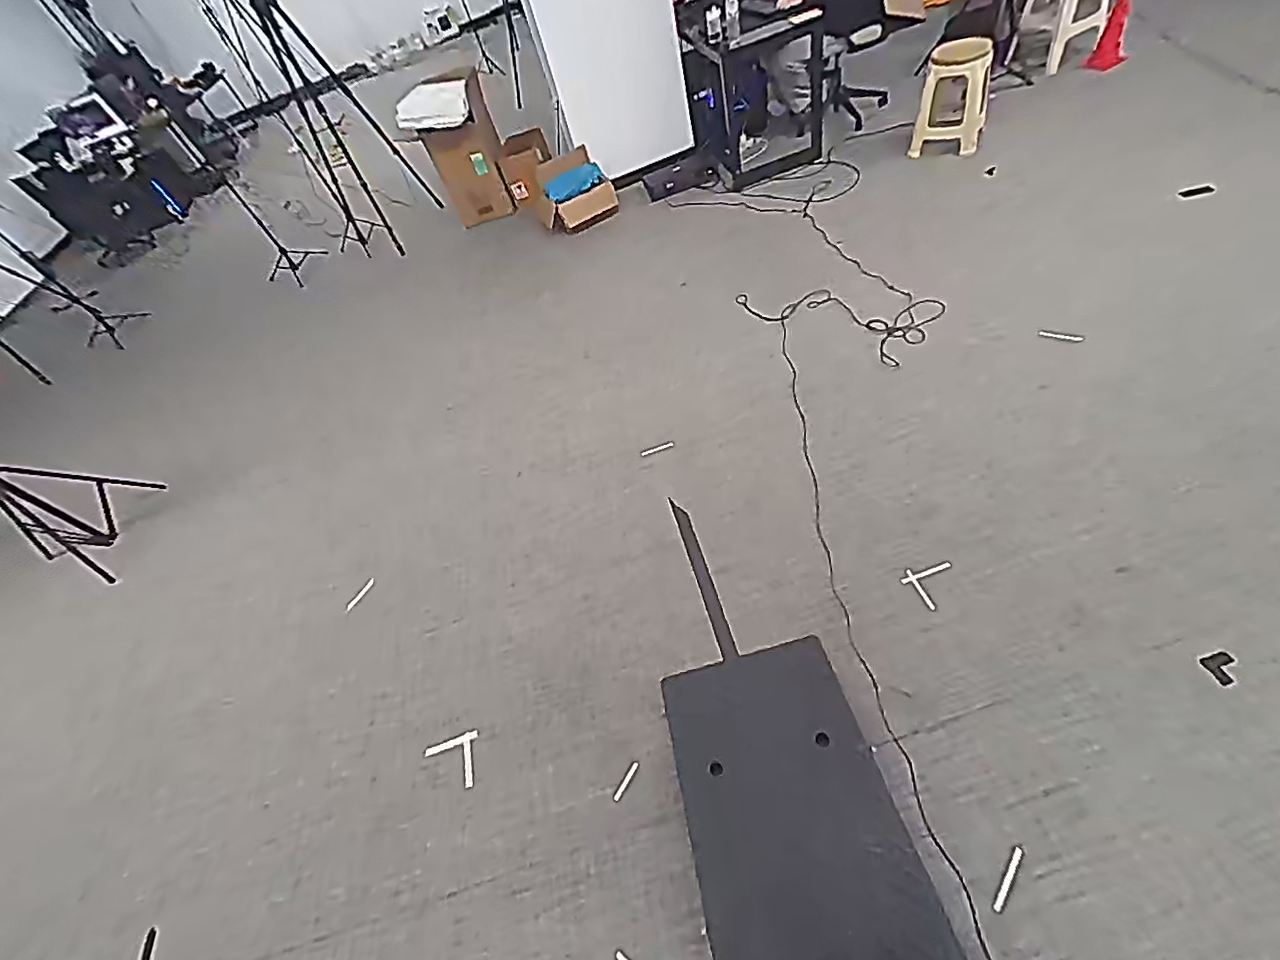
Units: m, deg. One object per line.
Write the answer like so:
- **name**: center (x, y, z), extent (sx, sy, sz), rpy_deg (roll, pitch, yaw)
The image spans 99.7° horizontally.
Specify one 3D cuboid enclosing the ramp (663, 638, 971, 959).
- **ramp**: center (0.367, 0.848, 1.237), extent (0.509, 0.206, 0.991), rpy_deg (-20, 48, 4)
